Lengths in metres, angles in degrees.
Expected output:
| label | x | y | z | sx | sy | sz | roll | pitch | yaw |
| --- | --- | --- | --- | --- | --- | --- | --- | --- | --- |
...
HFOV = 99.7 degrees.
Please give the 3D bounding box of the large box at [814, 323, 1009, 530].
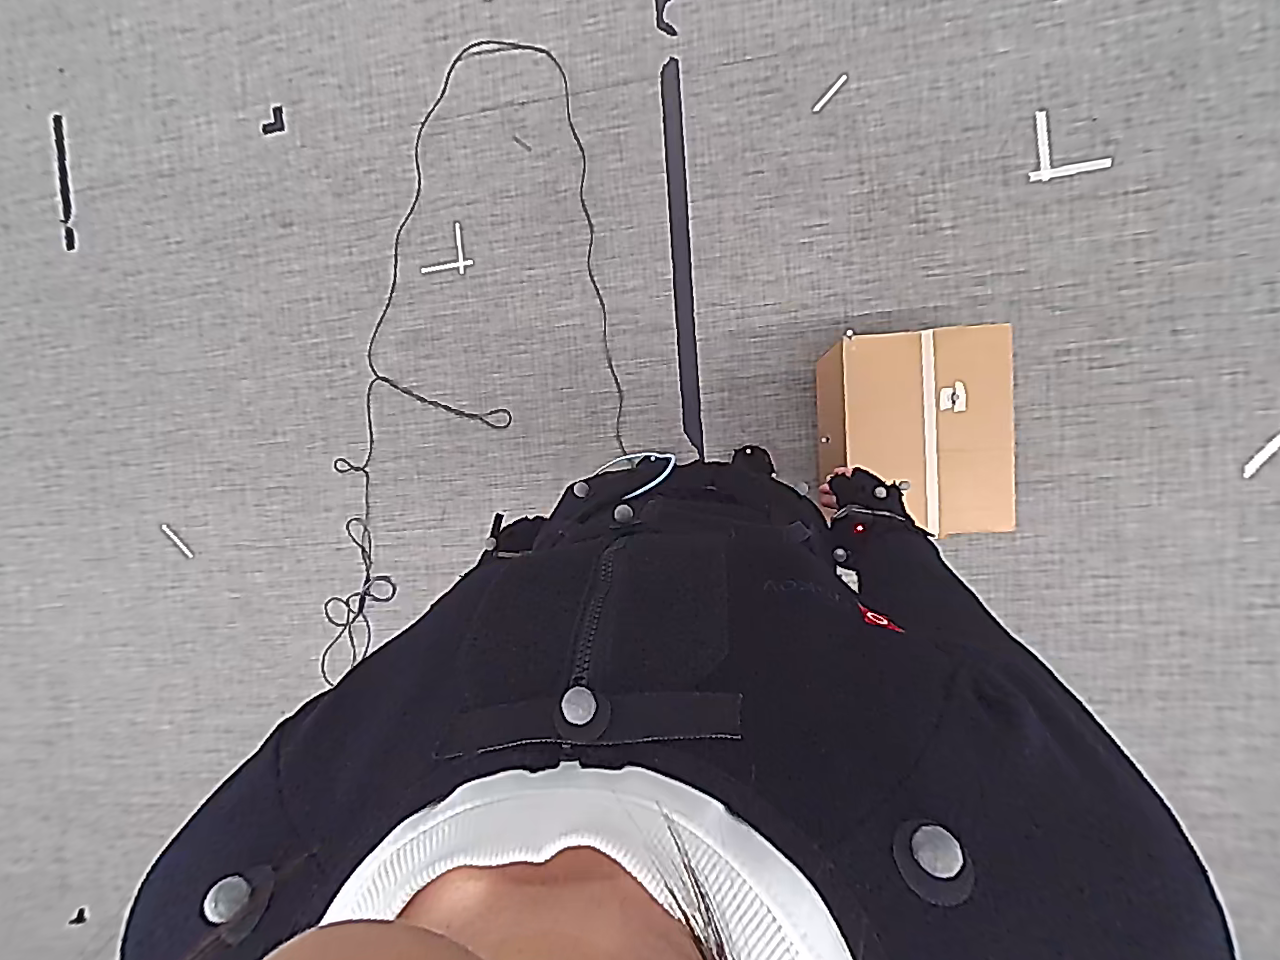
| label | x | y | z | sx | sy | sz | roll | pitch | yaw |
| --- | --- | --- | --- | --- | --- | --- | --- | --- | --- |
| large box | 0.588 | -0.108 | 1.232 | 0.320 | 0.320 | 0.408 | -3 | 92 | 7 |
